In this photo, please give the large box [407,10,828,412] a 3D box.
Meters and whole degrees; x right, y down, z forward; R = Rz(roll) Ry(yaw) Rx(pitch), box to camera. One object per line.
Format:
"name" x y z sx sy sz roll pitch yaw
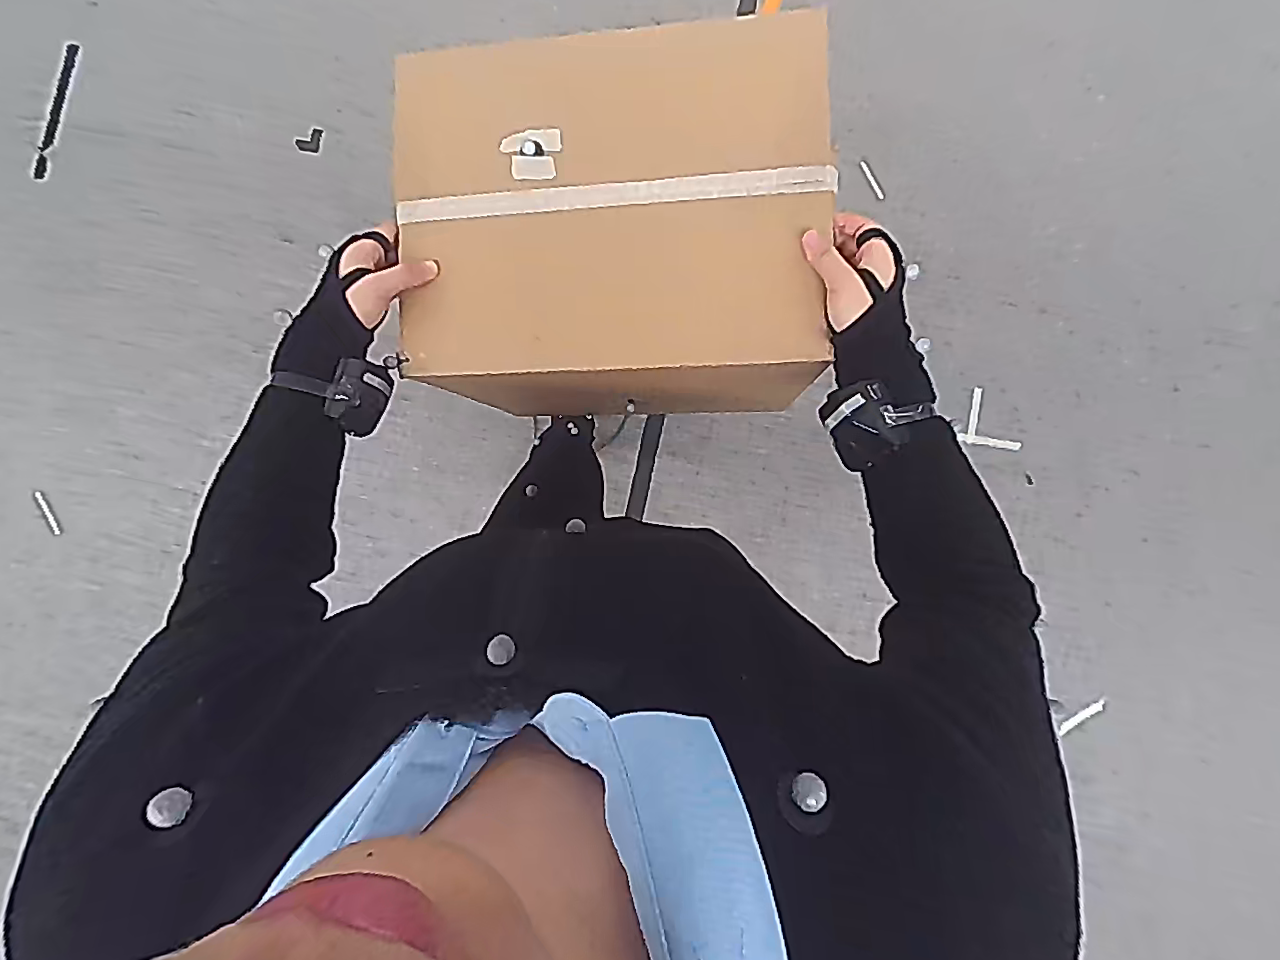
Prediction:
"large box" -0.011 -0.261 0.656 0.408 0.320 0.320 -1 88 8
